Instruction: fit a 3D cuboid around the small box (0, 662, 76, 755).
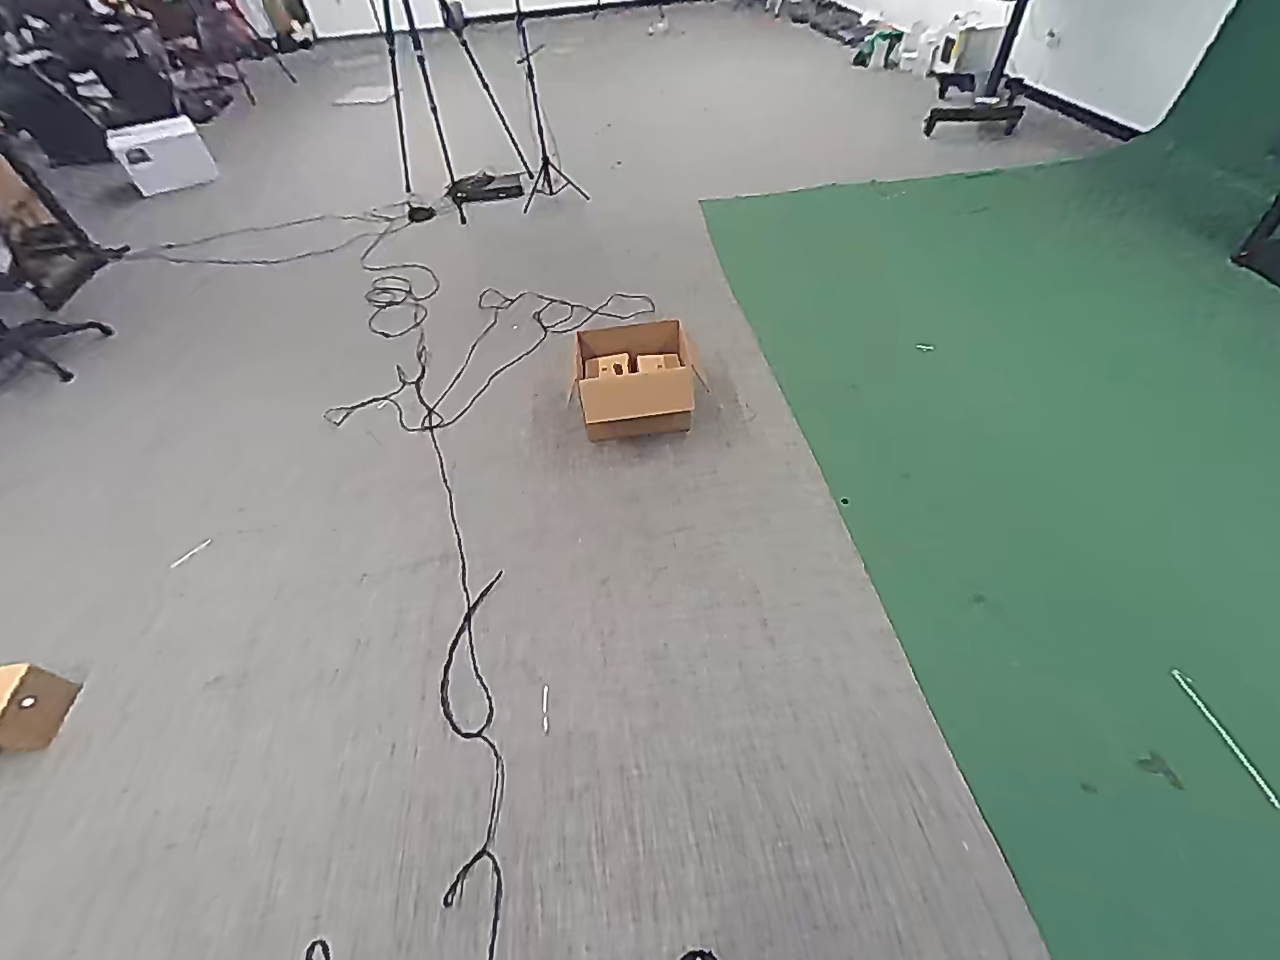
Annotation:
[{"bbox_3d":[-1.680,0.611,1.437,0.168,0.176,0.179,-9,50,-4],"label":"small box"}]
